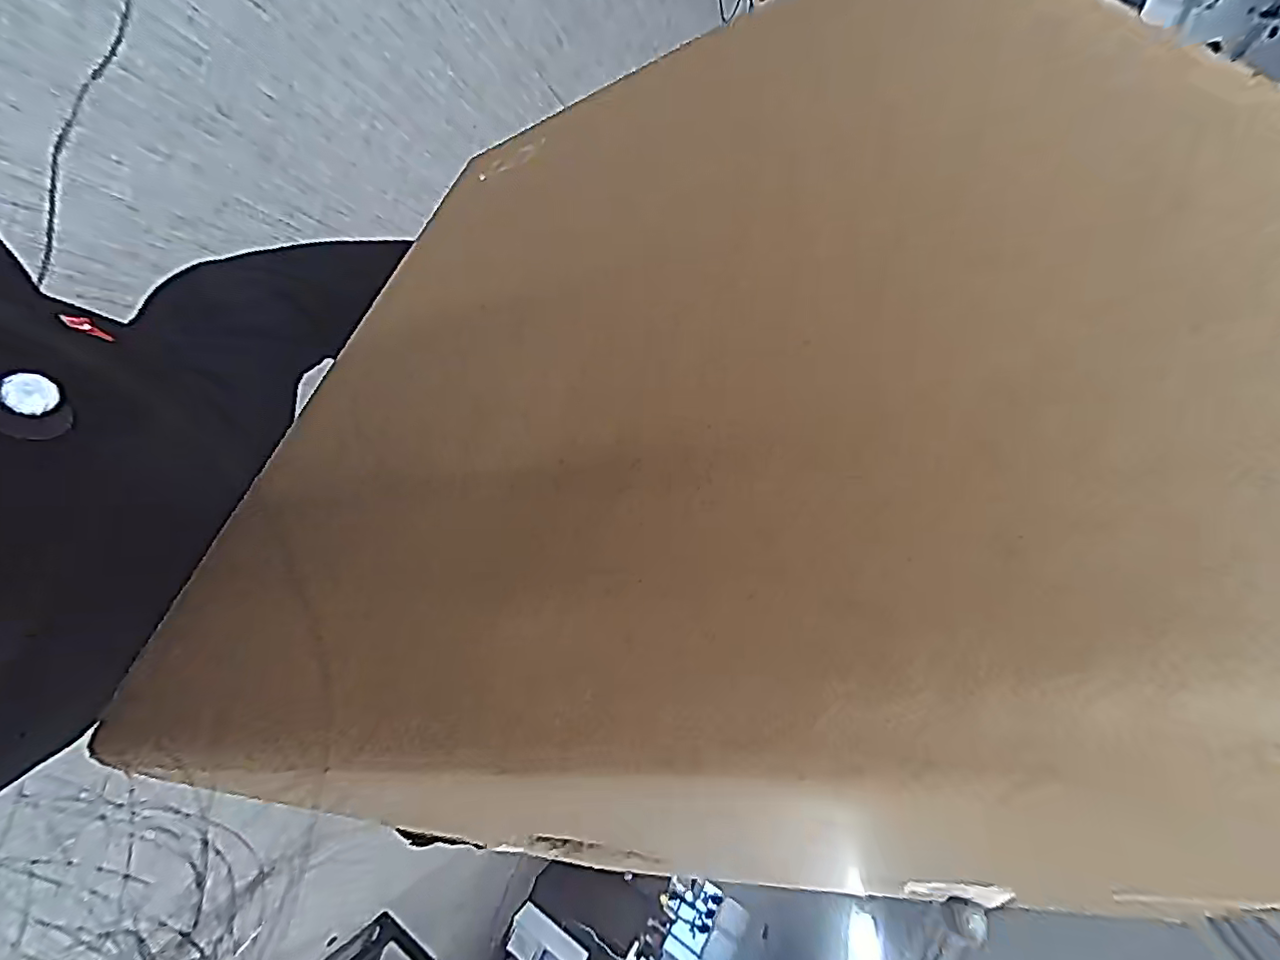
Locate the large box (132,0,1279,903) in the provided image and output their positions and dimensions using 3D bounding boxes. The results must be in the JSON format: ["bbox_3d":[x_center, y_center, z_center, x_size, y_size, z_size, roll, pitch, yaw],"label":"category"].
[{"bbox_3d":[0.060,-0.019,0.331,0.320,0.320,0.408,57,31,-44],"label":"large box"}]
